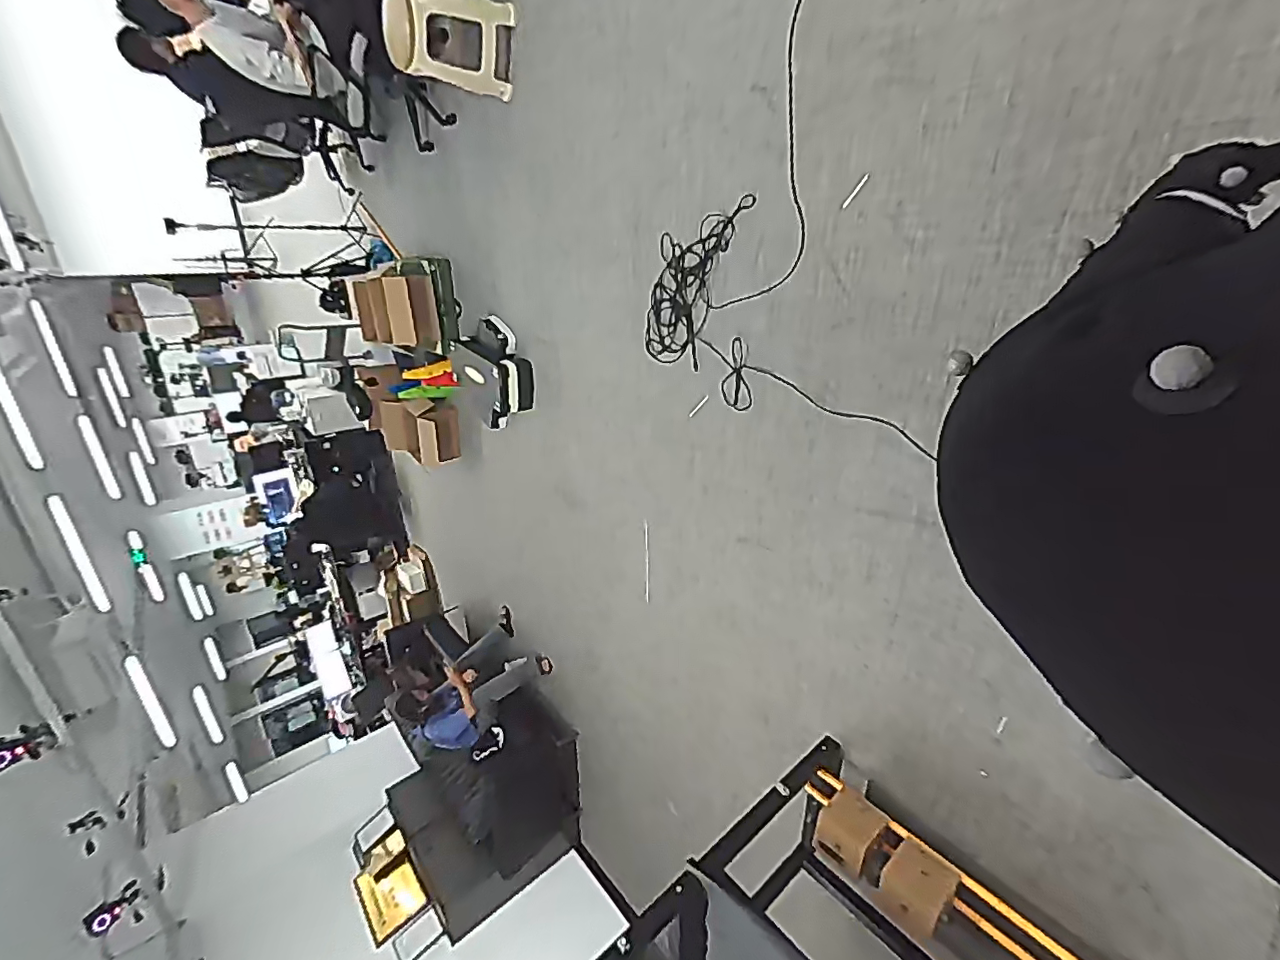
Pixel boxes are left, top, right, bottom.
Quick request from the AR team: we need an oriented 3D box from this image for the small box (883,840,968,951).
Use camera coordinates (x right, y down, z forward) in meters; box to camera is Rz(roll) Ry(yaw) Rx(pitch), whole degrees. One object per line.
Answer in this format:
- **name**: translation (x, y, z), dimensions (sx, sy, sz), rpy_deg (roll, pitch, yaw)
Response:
- **small box**: translation (0.878, 1.262, 1.658), dimensions (0.168, 0.176, 0.179), rpy_deg (23, 122, 46)
